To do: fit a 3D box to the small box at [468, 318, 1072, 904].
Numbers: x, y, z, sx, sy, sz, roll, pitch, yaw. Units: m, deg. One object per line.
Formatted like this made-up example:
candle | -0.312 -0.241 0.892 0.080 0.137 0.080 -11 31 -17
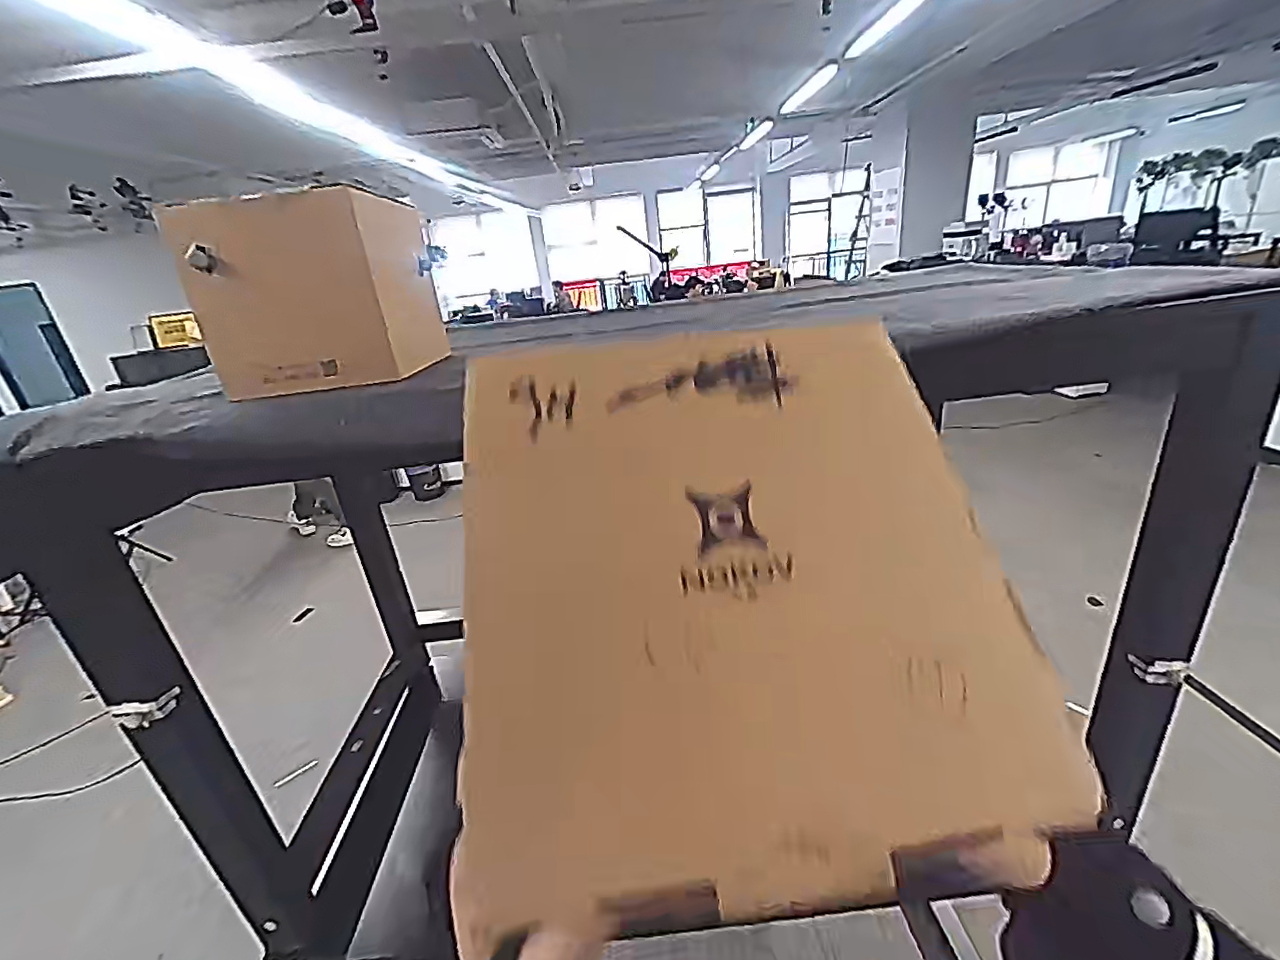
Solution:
small box | 0.025 0.054 0.248 0.168 0.176 0.179 -6 64 -6
